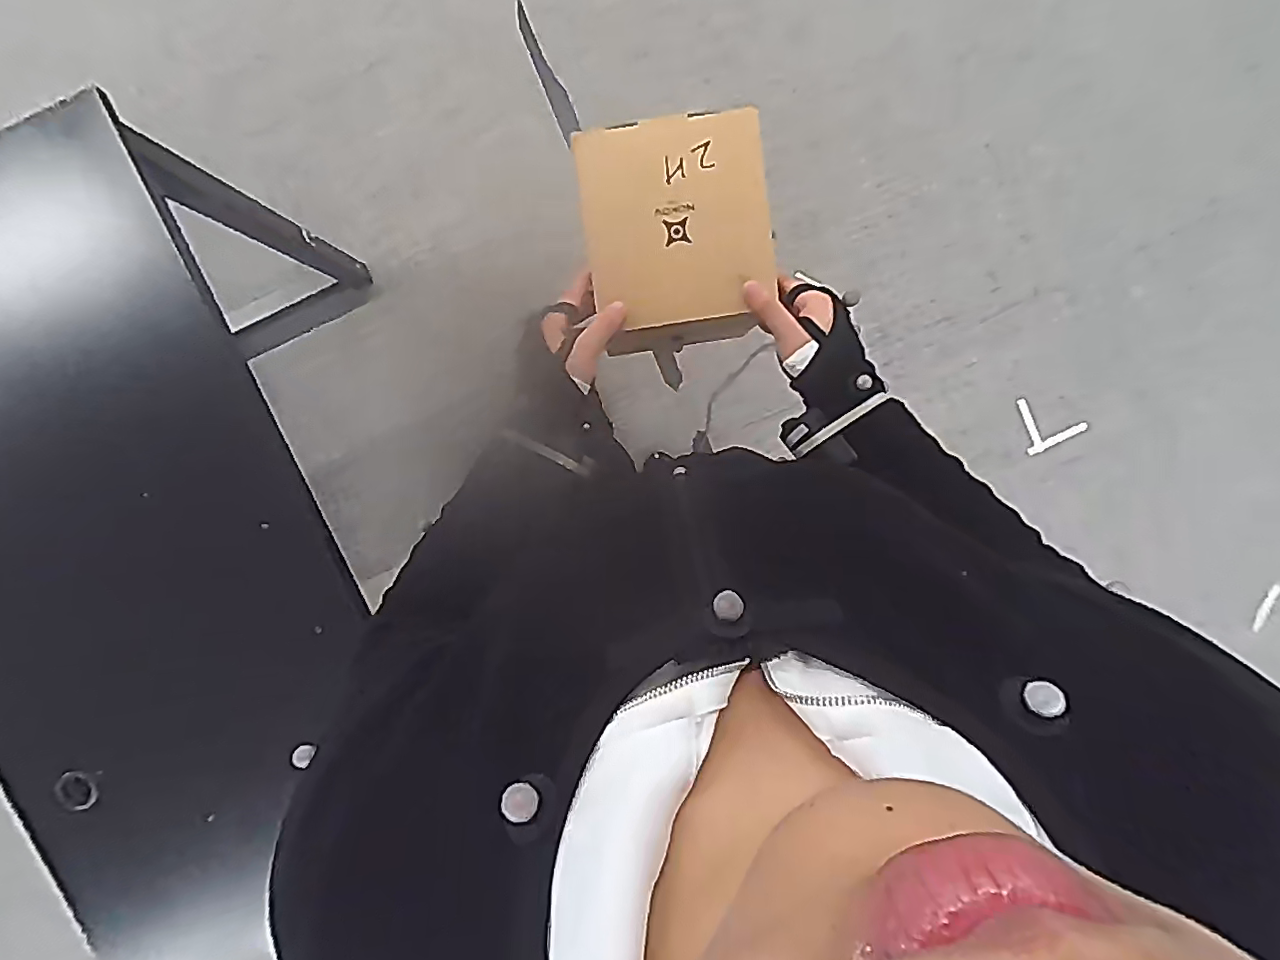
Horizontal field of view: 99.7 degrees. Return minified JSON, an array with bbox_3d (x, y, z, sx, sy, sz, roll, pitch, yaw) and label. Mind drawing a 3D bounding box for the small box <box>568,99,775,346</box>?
[{"bbox_3d":[0.030,-0.240,0.555,0.168,0.176,0.179,-9,95,0],"label":"small box"}]
